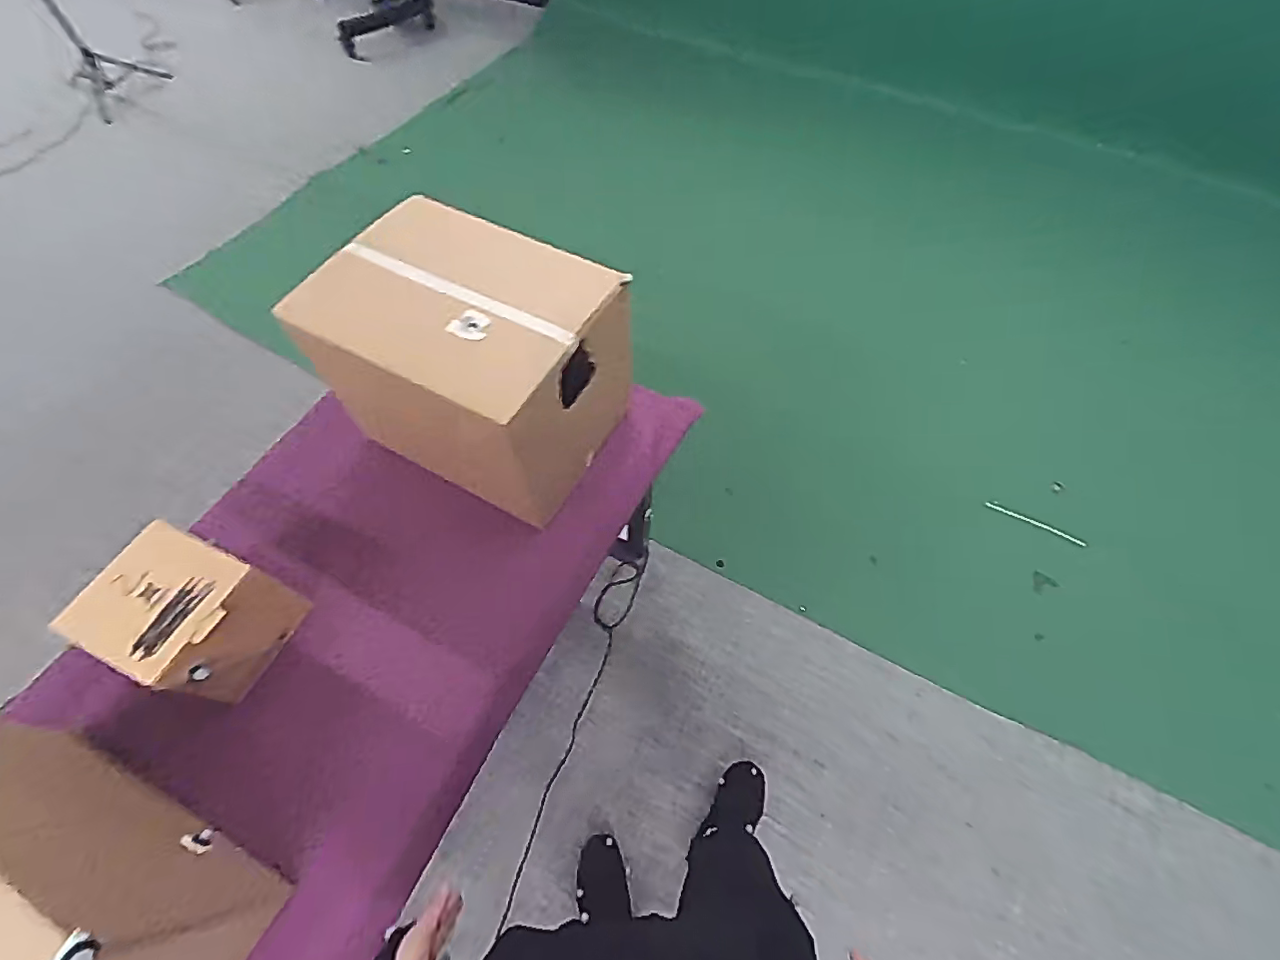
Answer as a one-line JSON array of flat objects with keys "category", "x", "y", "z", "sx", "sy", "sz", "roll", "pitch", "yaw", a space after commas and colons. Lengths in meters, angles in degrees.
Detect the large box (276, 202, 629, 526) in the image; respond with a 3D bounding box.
[{"category": "large box", "x": -0.265, "y": -0.185, "z": 0.899, "sx": 0.408, "sy": 0.320, "sz": 0.320, "roll": 25, "pitch": 63, "yaw": 12}]
